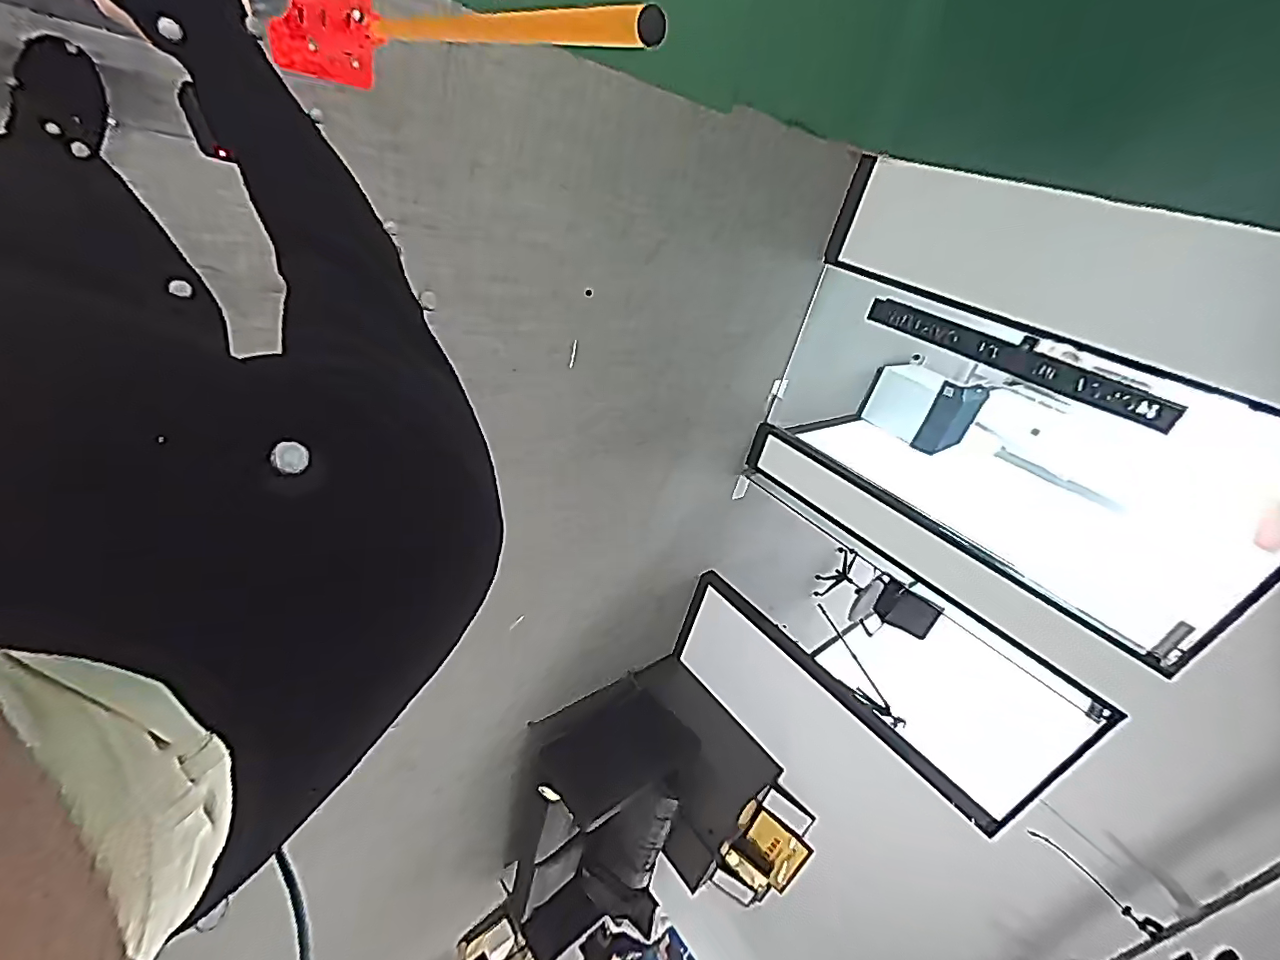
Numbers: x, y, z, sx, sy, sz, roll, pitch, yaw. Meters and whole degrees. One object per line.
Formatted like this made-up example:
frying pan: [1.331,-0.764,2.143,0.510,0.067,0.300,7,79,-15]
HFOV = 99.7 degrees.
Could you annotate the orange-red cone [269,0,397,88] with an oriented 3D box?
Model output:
orange-red cone: [-0.547,-0.869,1.023,0.198,0.360,0.199,-14,129,-41]
